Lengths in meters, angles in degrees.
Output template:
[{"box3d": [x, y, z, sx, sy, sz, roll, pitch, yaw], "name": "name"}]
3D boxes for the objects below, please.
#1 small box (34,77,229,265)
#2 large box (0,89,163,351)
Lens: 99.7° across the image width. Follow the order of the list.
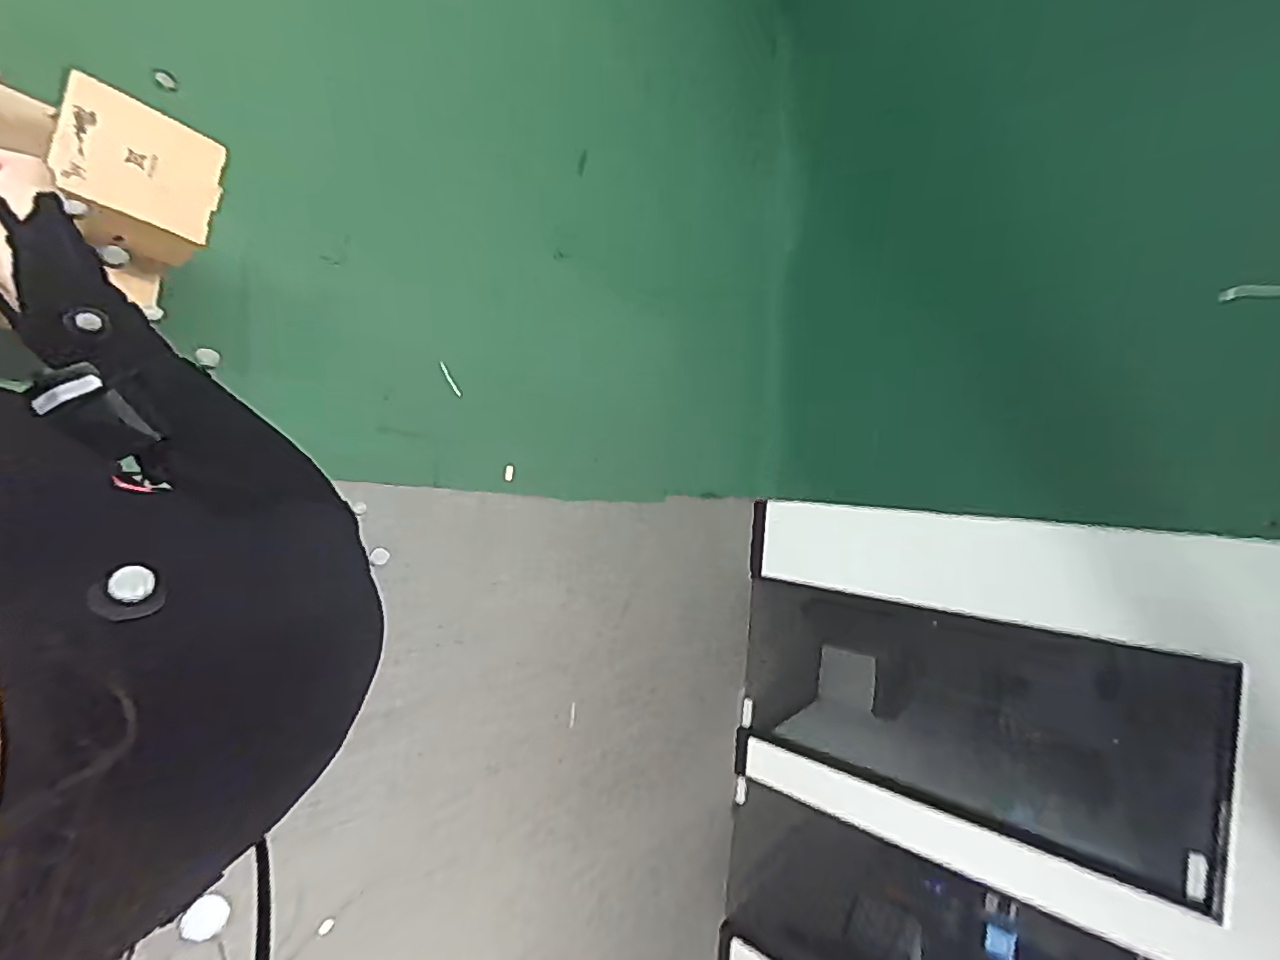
[{"box3d": [-0.773, -0.449, 0.825, 0.179, 0.176, 0.168, 16, 80, -50], "name": "small box"}, {"box3d": [-1.058, -0.421, 0.867, 0.408, 0.320, 0.320, 9, 87, -51], "name": "large box"}]
